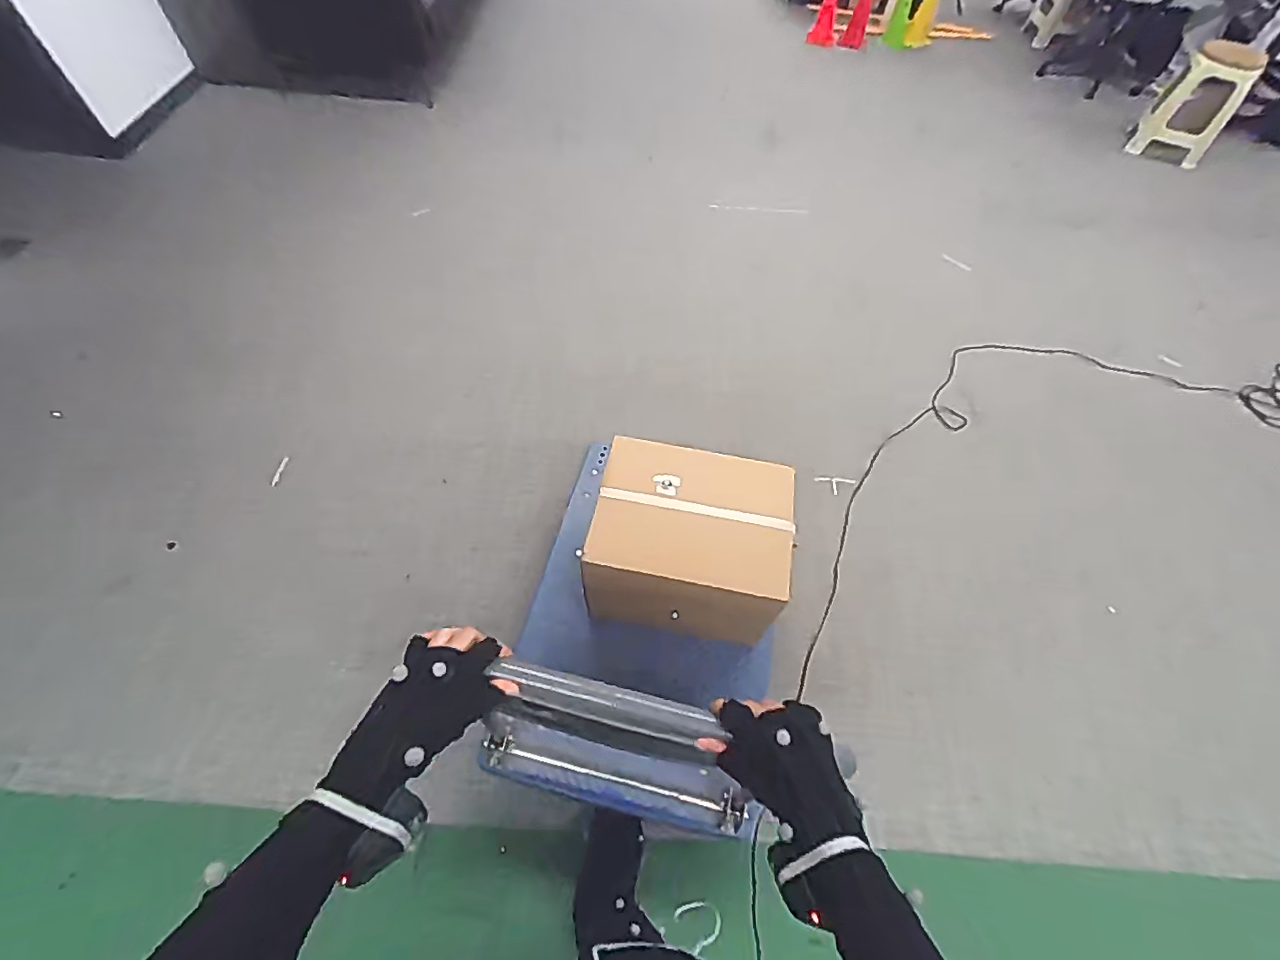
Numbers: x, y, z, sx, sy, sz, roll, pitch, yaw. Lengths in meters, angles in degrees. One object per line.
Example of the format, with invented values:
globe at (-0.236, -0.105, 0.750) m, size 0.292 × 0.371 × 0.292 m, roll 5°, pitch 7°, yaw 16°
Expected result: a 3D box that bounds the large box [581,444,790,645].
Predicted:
large box at (0.106, 0.155, 1.236) m, size 0.408 × 0.320 × 0.320 m, roll 10°, pitch 56°, yaw 6°
